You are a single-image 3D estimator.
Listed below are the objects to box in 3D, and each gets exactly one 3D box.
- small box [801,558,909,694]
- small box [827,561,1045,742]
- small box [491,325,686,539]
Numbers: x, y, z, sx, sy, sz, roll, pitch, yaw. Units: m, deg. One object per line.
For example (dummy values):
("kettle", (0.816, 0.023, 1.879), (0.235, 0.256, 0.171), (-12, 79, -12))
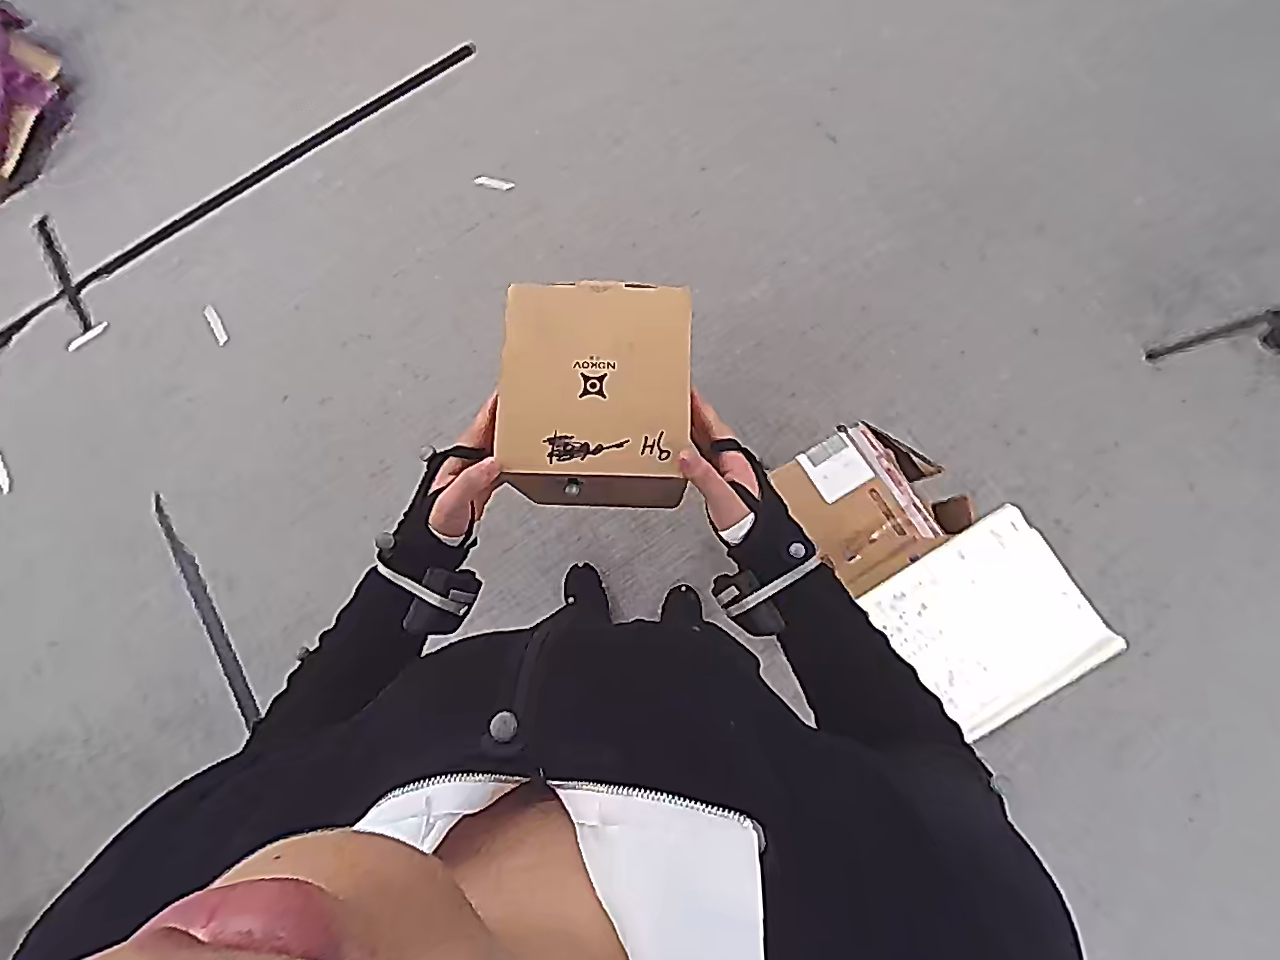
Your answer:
("small box", (0.405, 0.247, 0.922), (0.168, 0.176, 0.179), (-34, 80, -2))
("small box", (0.396, 0.224, 0.760), (0.179, 0.176, 0.168), (-31, 81, -1))
("small box", (-0.043, -0.038, 0.554), (0.168, 0.176, 0.179), (1, 78, 1))
